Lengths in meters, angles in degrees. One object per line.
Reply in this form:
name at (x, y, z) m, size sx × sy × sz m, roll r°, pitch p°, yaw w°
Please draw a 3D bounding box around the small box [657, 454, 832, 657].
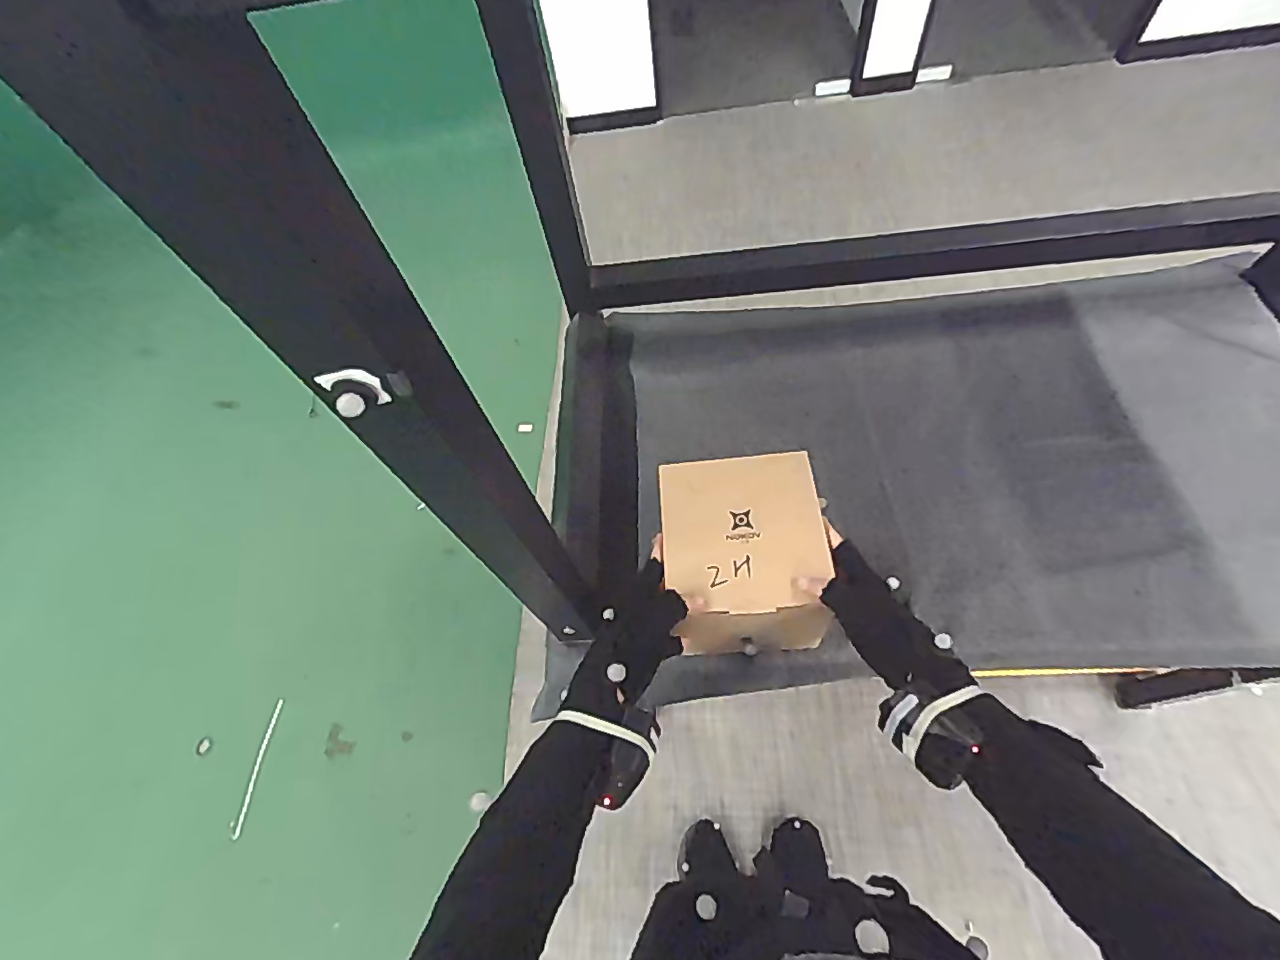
small box at (0.110, 0.093, 0.625) m, size 0.168 × 0.176 × 0.179 m, roll -6°, pitch 58°, yaw 7°
